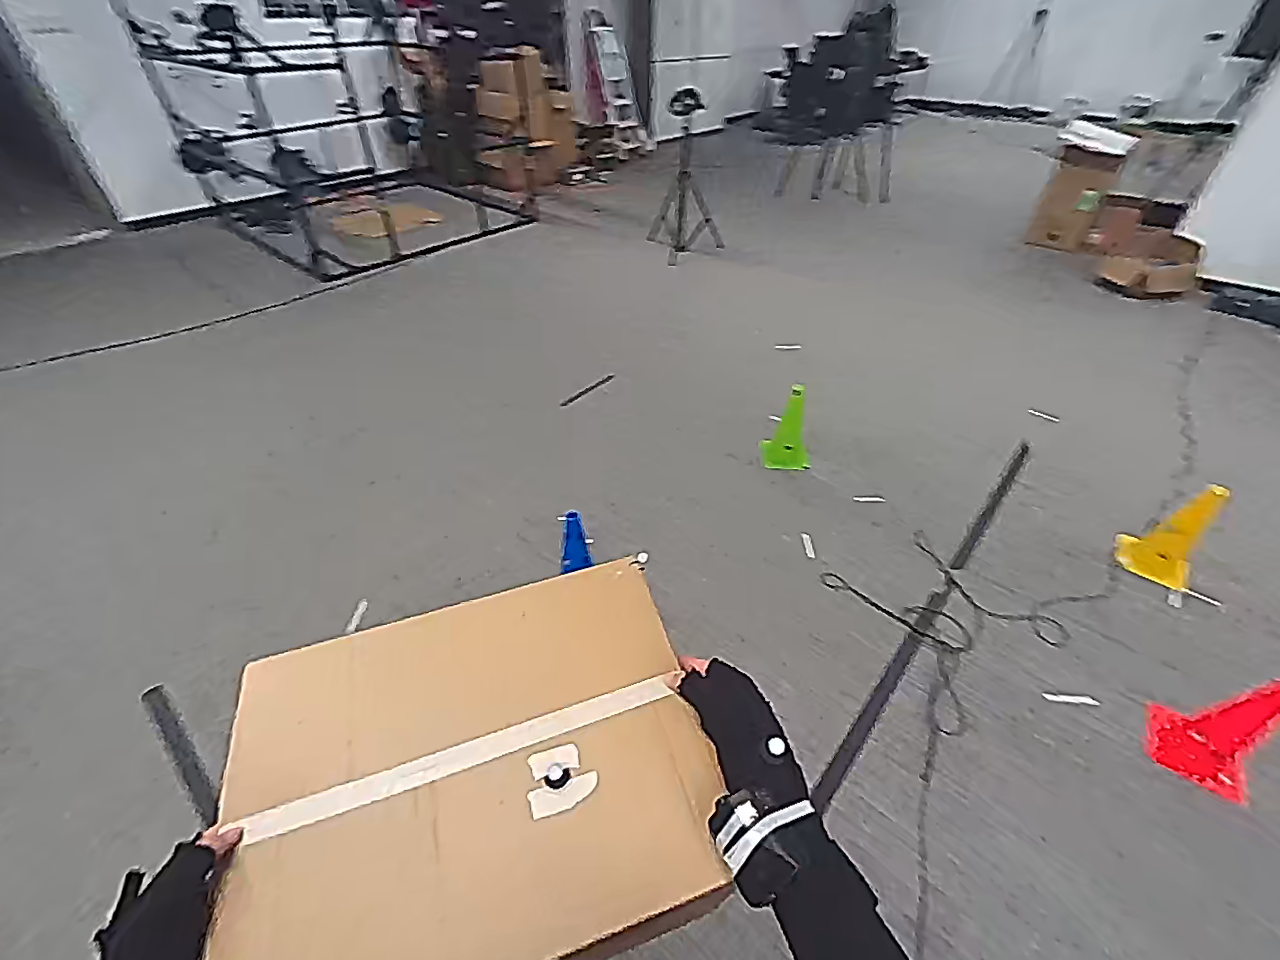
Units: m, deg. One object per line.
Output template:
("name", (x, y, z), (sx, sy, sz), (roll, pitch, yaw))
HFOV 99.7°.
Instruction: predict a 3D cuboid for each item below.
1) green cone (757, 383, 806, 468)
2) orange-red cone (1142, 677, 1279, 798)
("green cone", (0.630, -0.250, 2.310), (0.202, 0.368, 0.200), (1, 40, 3))
("orange-red cone", (1.487, 0.593, 1.352), (0.198, 0.360, 0.199), (28, 47, 27))
